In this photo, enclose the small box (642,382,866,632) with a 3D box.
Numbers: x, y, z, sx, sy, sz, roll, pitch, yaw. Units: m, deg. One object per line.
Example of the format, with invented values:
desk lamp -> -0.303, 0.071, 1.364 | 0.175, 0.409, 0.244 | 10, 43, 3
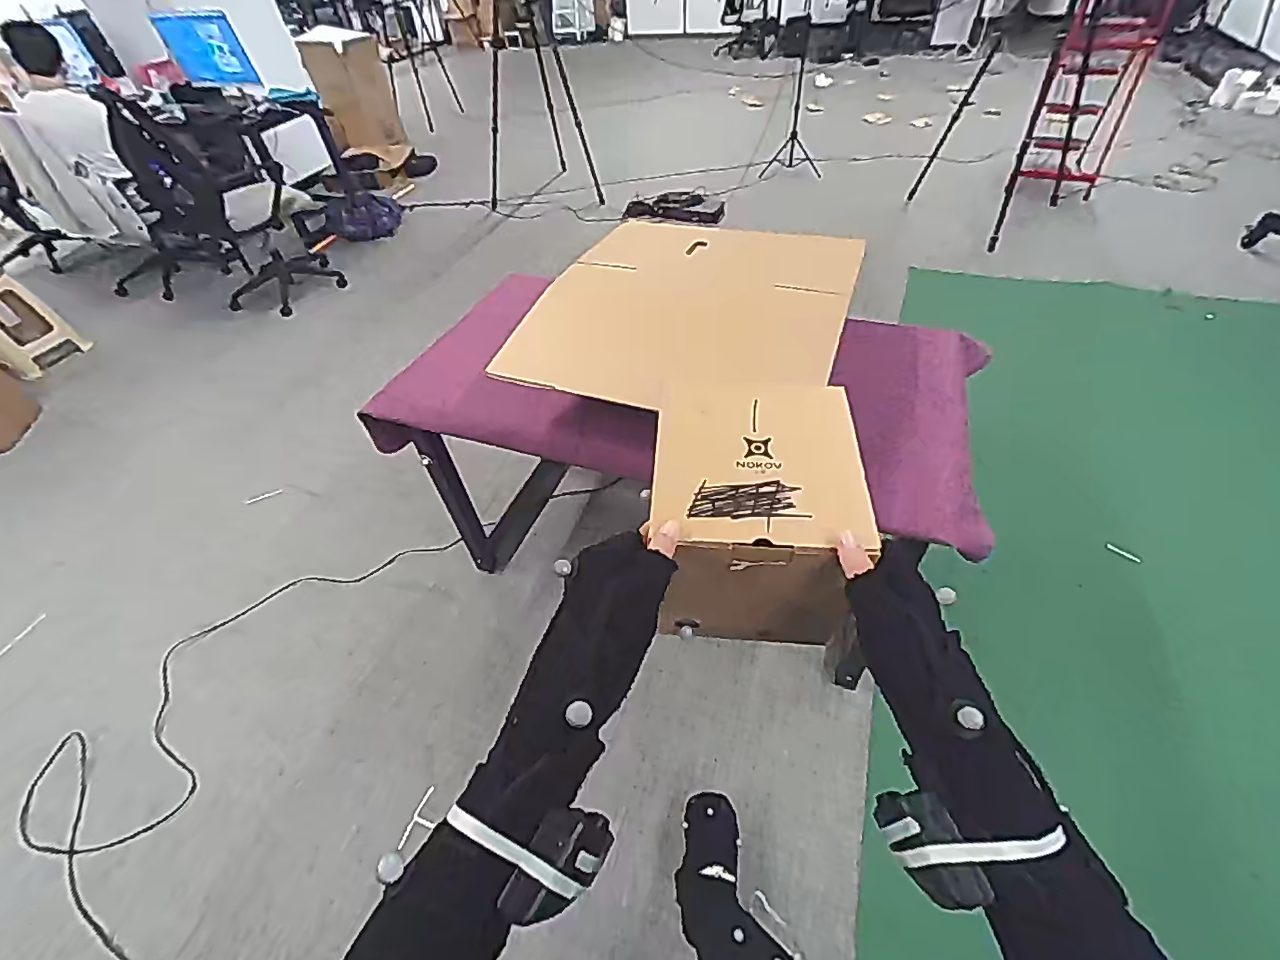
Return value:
small box -> 0.093, 0.028, 0.507 | 0.168, 0.176, 0.179 | 2, 51, 4
